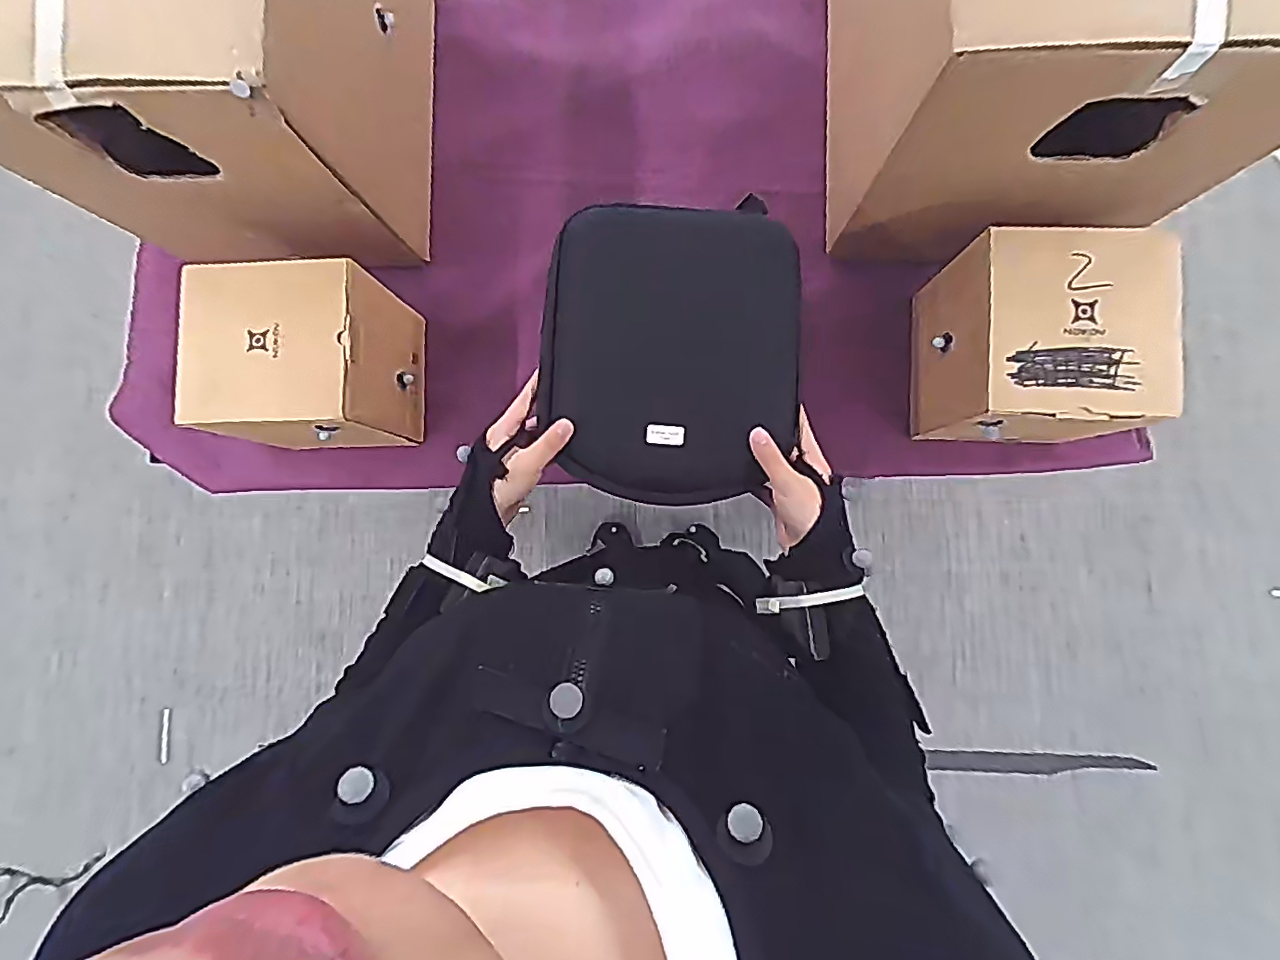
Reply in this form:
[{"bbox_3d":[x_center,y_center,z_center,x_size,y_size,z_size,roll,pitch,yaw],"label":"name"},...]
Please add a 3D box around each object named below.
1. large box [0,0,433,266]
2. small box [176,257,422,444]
[{"bbox_3d":[-0.431,-0.483,0.574,0.320,0.320,0.408,-1,89,2],"label":"large box"},{"bbox_3d":[-0.375,-0.135,0.623,0.179,0.176,0.168,-2,85,3],"label":"small box"}]
